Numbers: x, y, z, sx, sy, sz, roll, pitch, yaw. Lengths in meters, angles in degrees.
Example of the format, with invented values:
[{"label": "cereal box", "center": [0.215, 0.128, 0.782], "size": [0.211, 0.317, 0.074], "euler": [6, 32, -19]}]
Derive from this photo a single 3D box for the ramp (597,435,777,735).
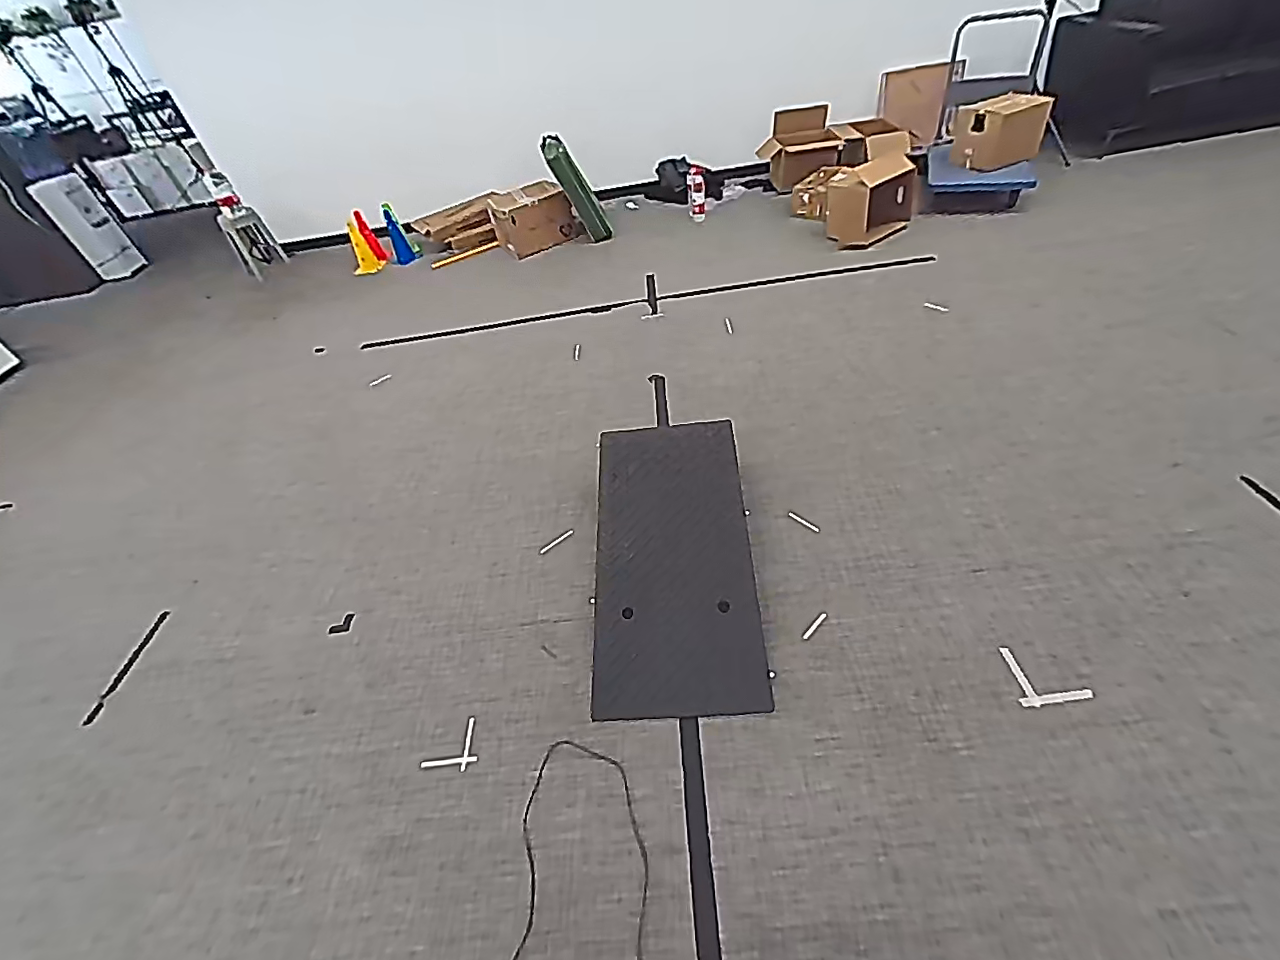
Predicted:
[{"label": "ramp", "center": [0.105, 0.264, 1.735], "size": [0.509, 0.206, 0.991], "euler": [-7, 43, 4]}]
